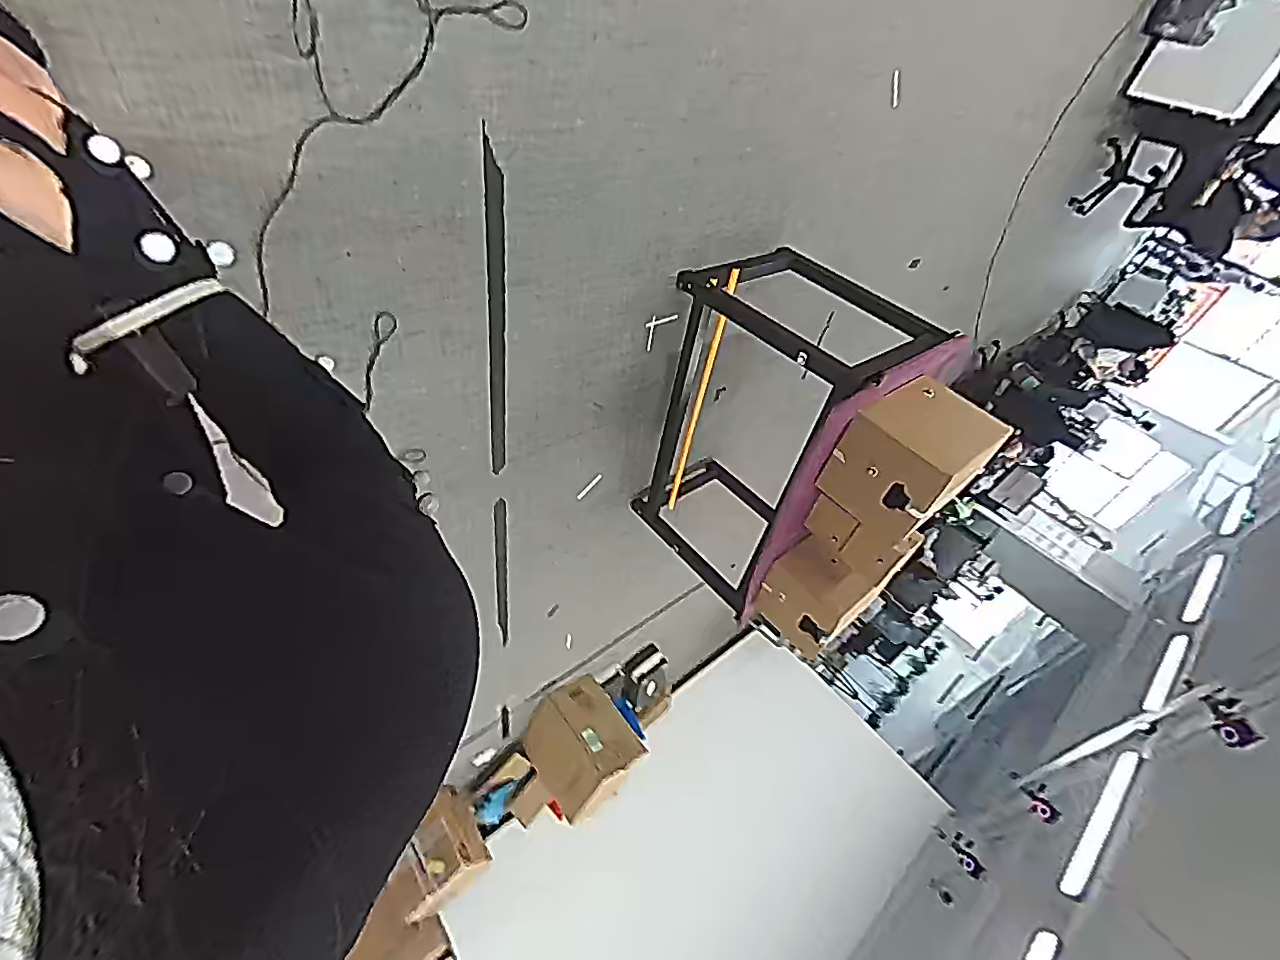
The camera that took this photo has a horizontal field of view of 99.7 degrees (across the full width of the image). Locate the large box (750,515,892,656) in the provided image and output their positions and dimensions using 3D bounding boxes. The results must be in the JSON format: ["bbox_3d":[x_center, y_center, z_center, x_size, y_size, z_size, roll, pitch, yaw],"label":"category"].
[{"bbox_3d":[0.710,0.411,2.159,0.408,0.320,0.320,-27,146,-33],"label":"large box"}]
